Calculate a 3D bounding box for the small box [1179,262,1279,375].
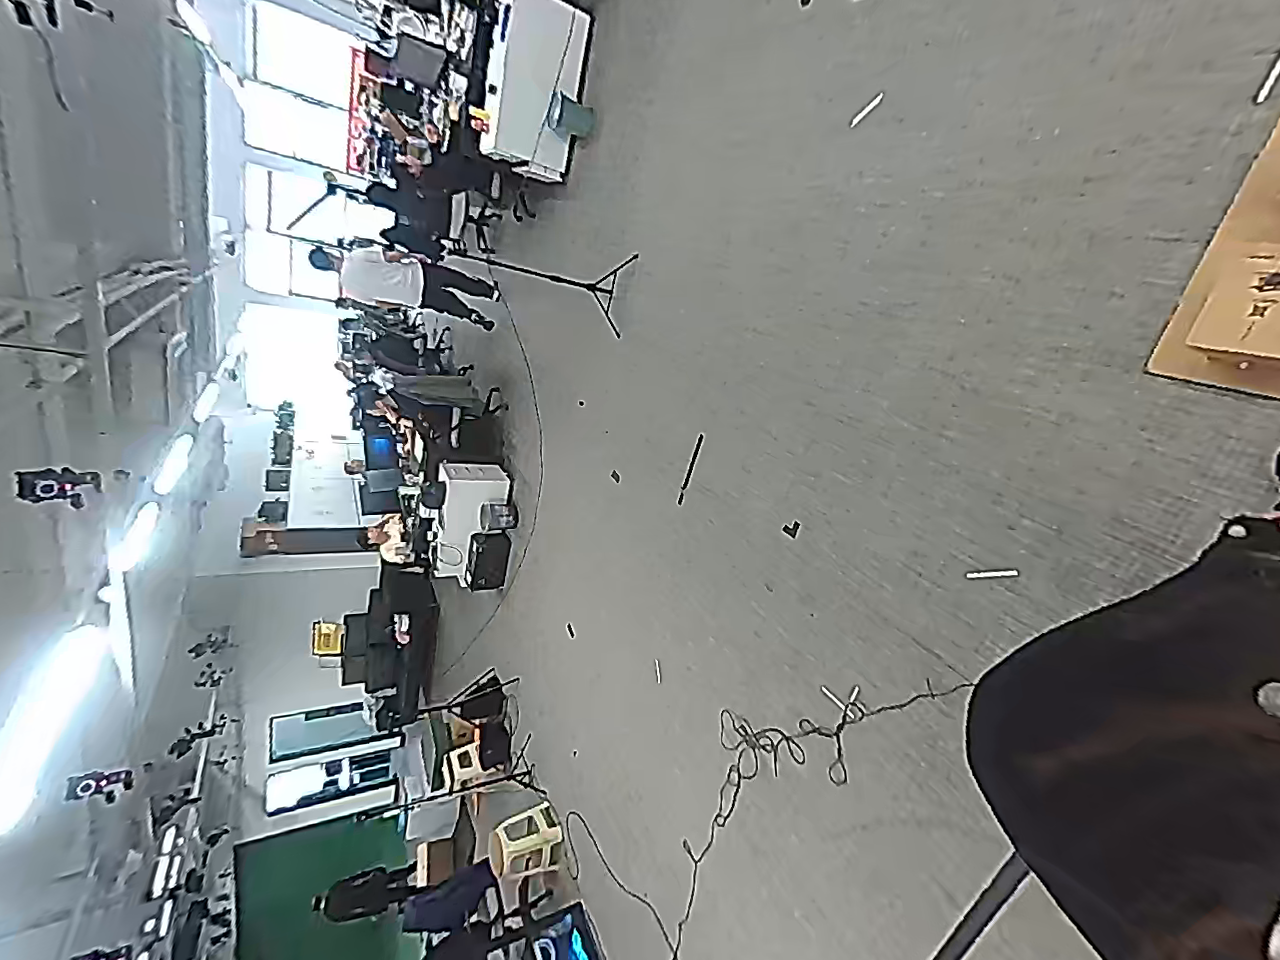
[{"bbox_3d":[1.227,-0.313,1.059,0.168,0.176,0.179,39,121,53],"label":"small box"}]
